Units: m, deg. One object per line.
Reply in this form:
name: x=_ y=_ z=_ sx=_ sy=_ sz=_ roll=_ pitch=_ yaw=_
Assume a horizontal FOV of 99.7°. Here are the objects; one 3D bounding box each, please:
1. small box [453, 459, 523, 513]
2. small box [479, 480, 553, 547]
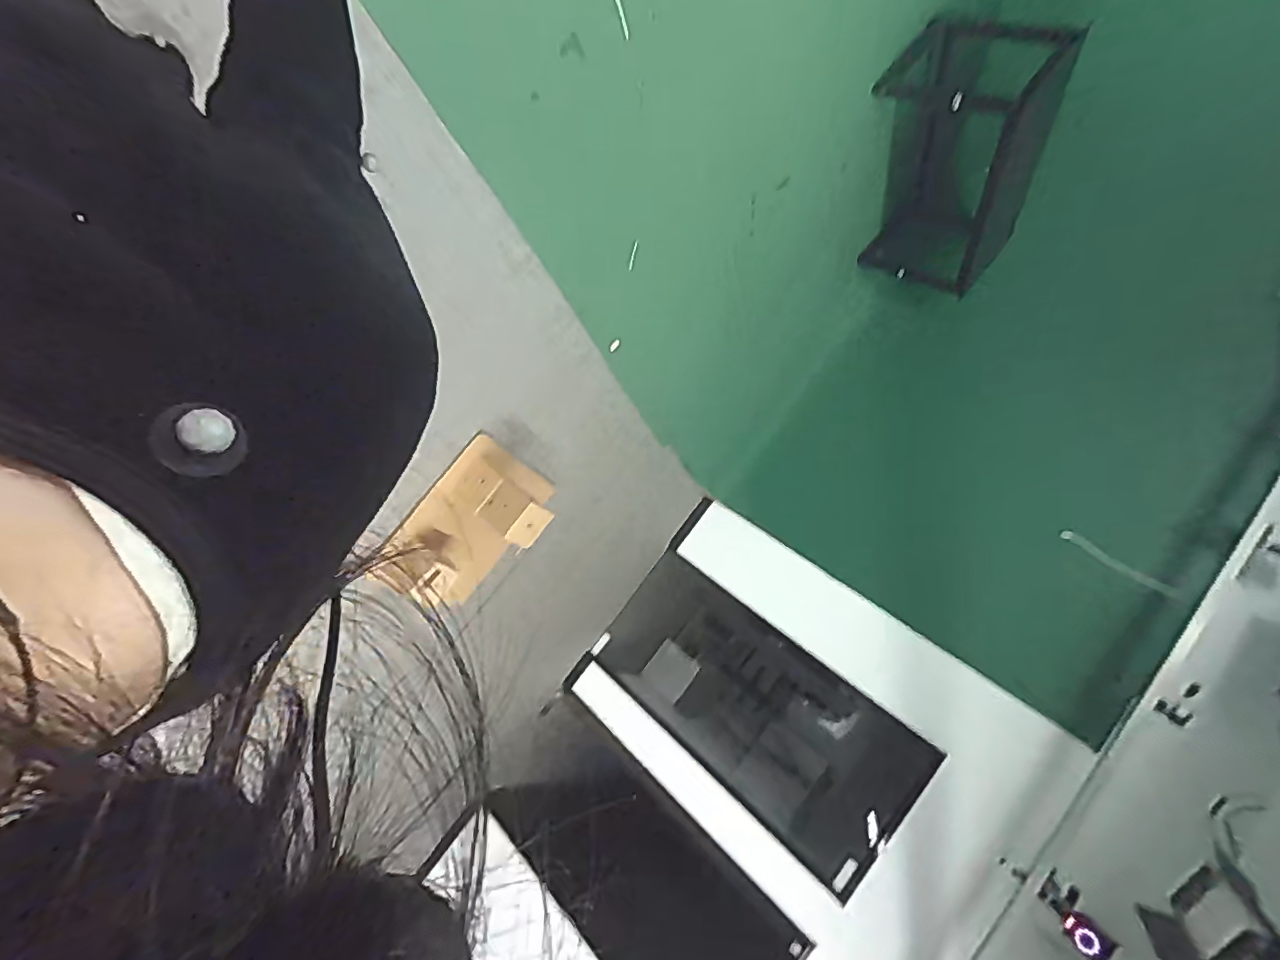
small box: x=-0.589 y=0.039 z=2.104 sx=0.168 sy=0.176 sz=0.179 roll=-53 pitch=152 yaw=-4
small box: x=-0.467 y=0.123 z=2.031 sx=0.168 sy=0.176 sz=0.179 roll=-52 pitch=152 yaw=-4
